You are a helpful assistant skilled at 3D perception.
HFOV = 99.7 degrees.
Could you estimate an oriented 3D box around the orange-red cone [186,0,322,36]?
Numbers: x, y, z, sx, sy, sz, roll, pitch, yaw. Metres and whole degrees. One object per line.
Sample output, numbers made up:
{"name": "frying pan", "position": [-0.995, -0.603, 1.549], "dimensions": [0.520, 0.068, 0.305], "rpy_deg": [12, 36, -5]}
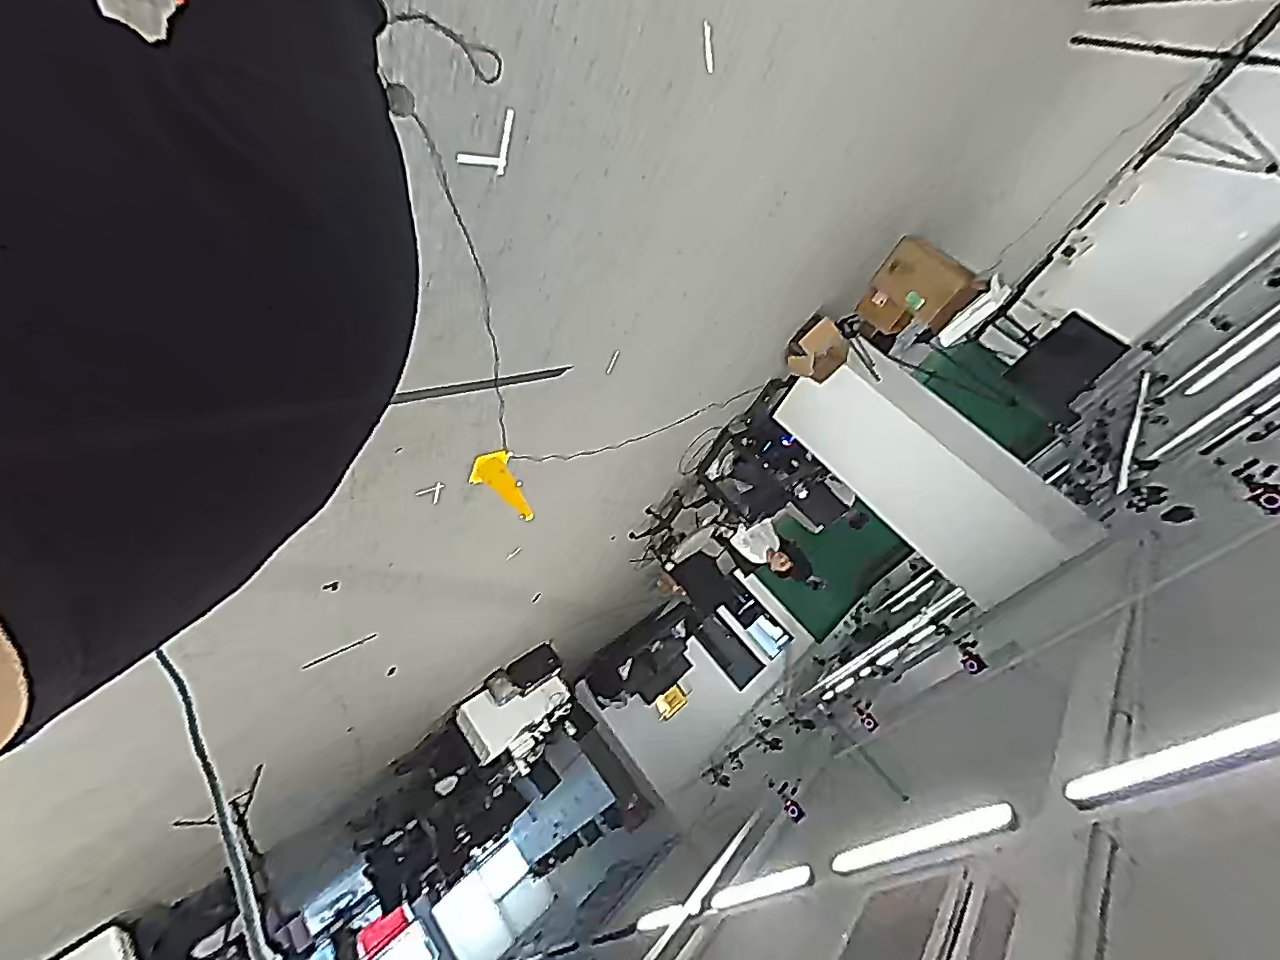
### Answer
{"name": "orange-red cone", "position": [-0.608, -0.808, 0.873], "dimensions": [0.199, 0.360, 0.198], "rpy_deg": [-24, 153, -39]}

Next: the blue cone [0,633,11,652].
{"name": "blue cone", "position": [-1.836, 0.595, 1.469], "dimensions": [0.193, 0.380, 0.192], "rpy_deg": [-26, 154, -38]}
